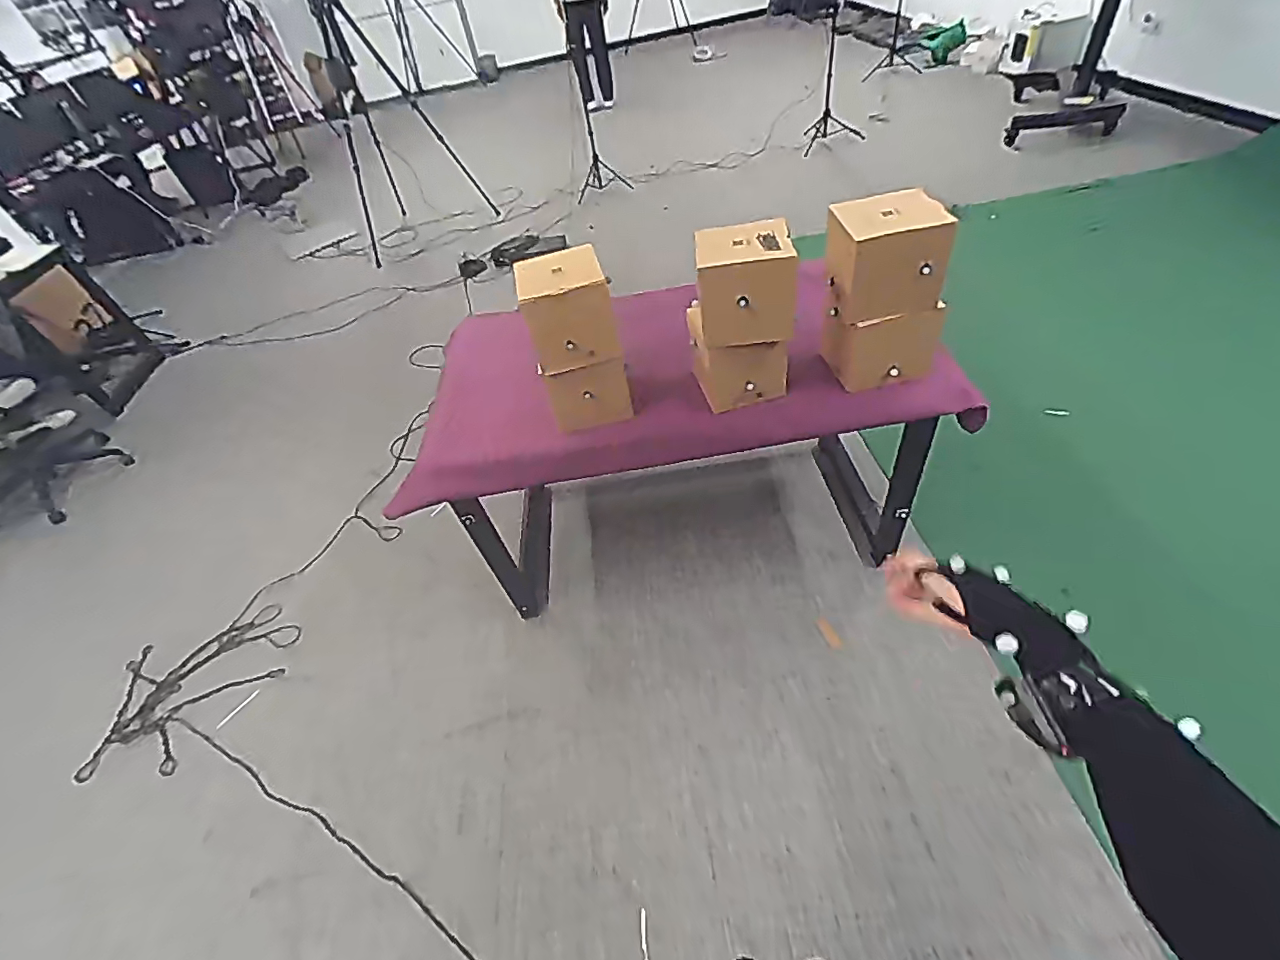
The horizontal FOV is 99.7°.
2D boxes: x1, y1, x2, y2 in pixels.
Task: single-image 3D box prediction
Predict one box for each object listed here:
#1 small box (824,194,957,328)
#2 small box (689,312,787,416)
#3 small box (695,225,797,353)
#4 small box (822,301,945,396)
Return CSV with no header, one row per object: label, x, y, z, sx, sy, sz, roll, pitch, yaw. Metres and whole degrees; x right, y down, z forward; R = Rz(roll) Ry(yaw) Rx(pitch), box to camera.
small box,0.466,-0.418,1.039,0.179,0.176,0.168,-9,46,6
small box,0.212,-0.268,1.185,0.168,0.176,0.179,-15,45,0
small box,0.202,-0.367,1.051,0.179,0.176,0.168,-5,45,10
small box,0.505,-0.304,1.150,0.179,0.176,0.168,-13,46,1
